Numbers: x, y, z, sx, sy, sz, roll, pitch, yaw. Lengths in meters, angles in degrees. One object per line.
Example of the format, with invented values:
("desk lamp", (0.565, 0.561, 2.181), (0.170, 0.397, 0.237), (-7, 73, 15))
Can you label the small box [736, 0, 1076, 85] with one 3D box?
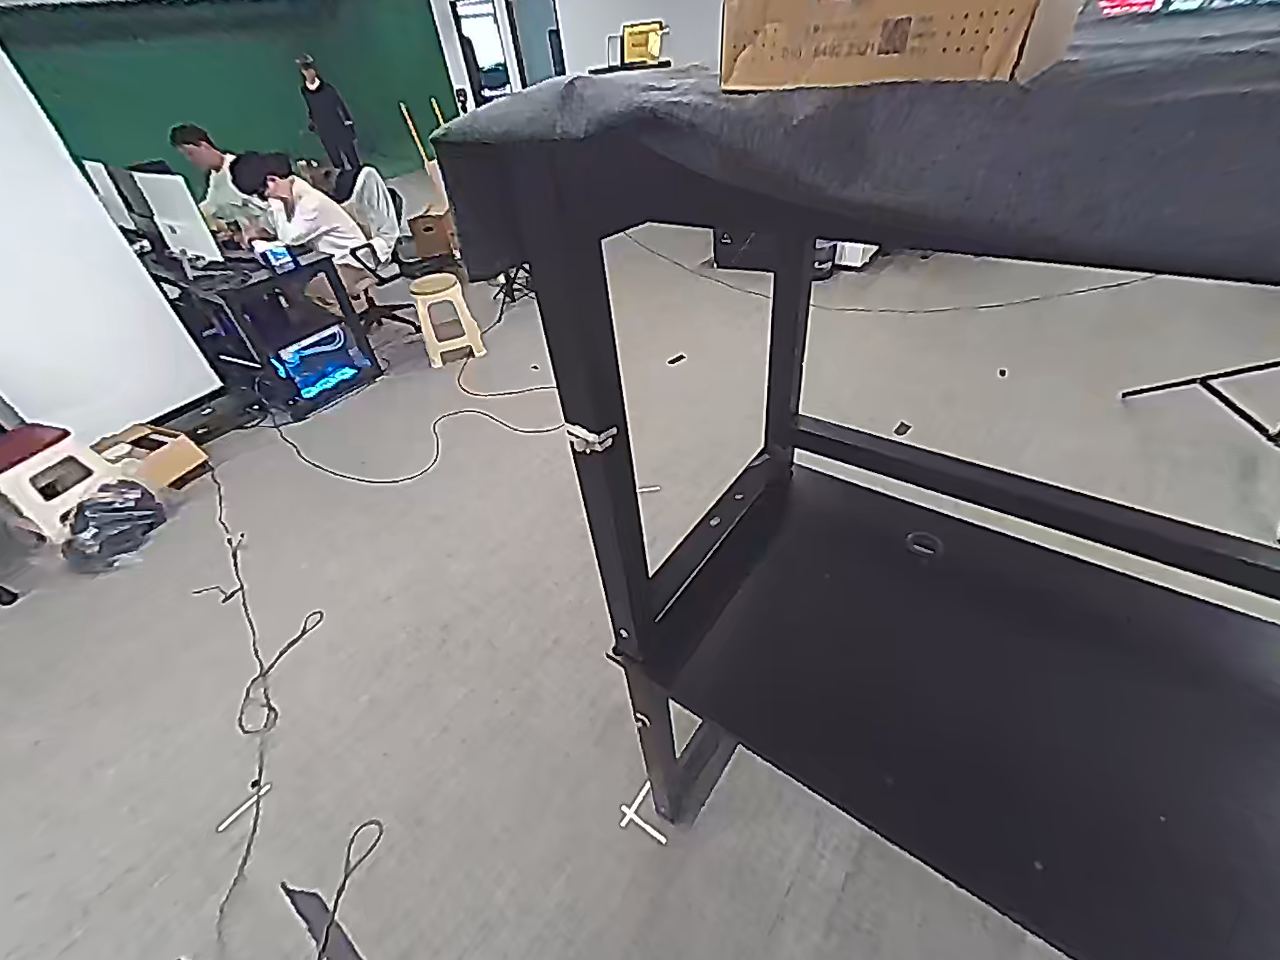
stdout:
("small box", (0.162, -0.332, 0.299), (0.168, 0.176, 0.179), (23, 47, 29))
